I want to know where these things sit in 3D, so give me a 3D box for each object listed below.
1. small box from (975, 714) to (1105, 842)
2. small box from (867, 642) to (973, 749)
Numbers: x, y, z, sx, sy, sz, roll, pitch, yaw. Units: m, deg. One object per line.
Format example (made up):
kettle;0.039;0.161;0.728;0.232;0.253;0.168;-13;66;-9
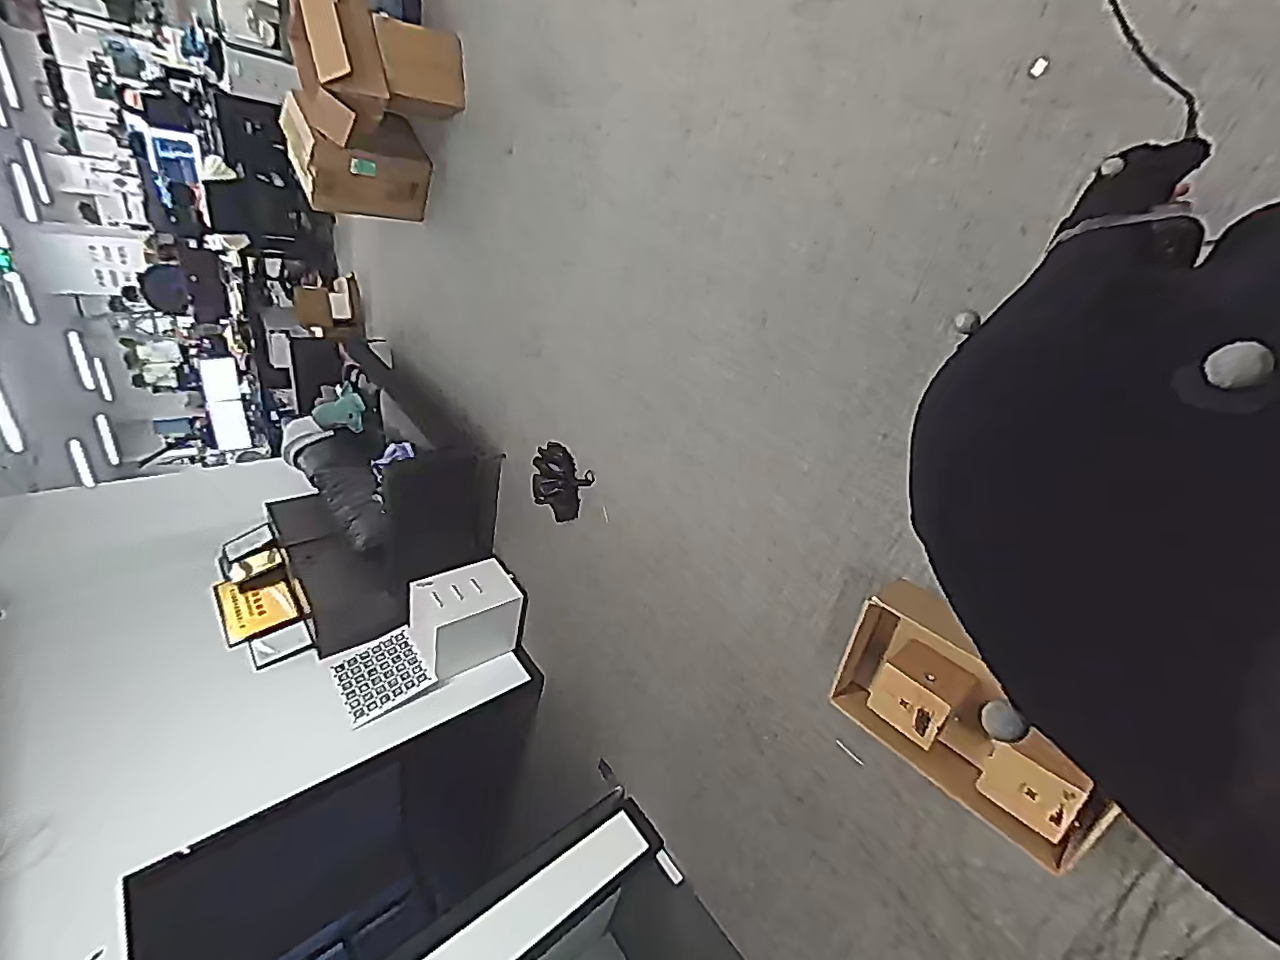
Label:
small box;0.935;0.681;1.266;0.179;0.176;0.168;30;124;43
small box;0.752;0.566;1.448;0.179;0.176;0.168;34;126;40
